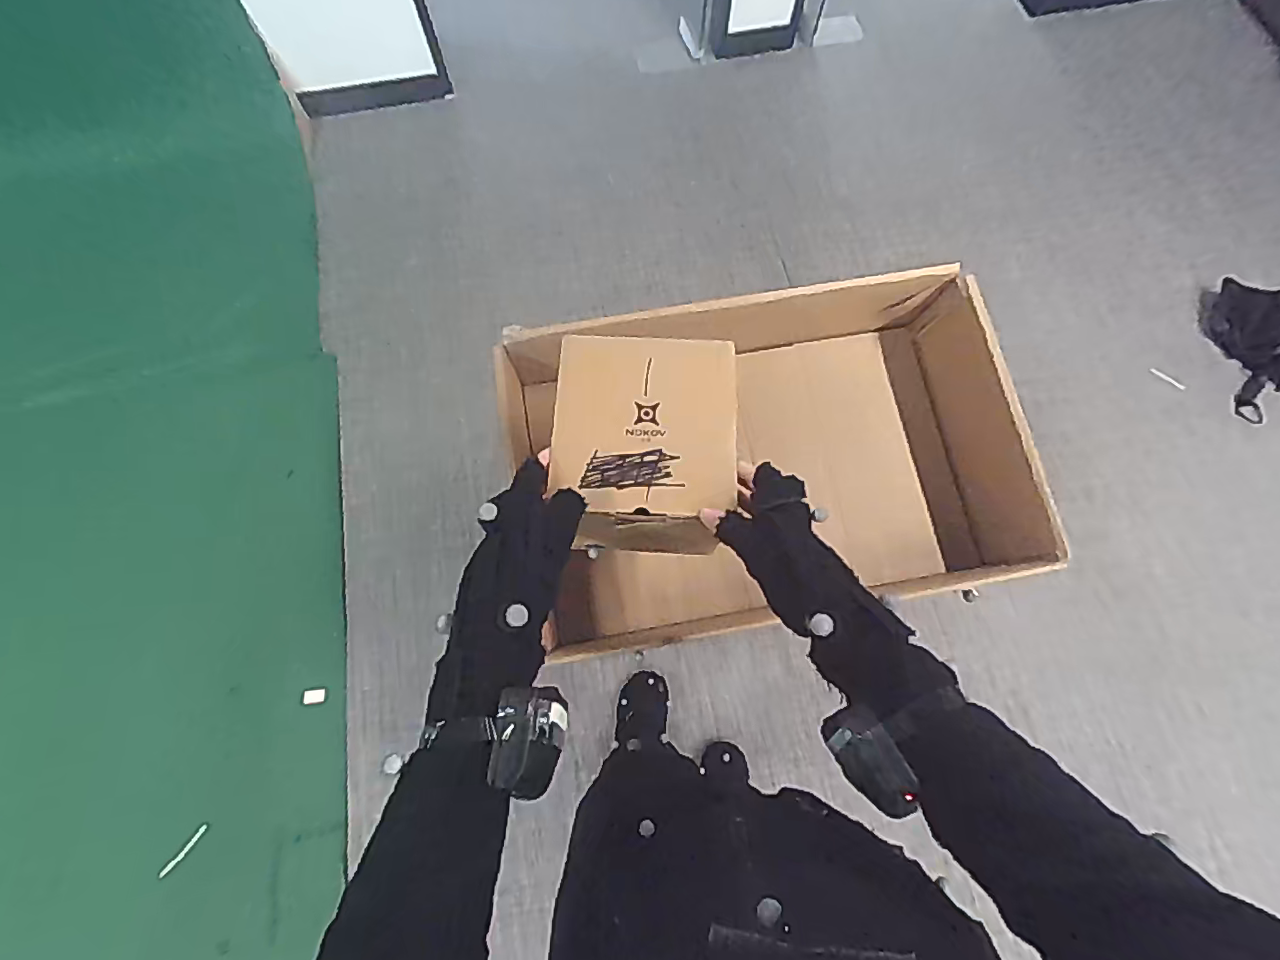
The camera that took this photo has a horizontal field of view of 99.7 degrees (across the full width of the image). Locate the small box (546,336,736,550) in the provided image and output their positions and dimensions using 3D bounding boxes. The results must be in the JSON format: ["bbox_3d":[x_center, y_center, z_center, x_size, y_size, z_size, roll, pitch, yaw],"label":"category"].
[{"bbox_3d":[0.006,-0.028,0.569,0.168,0.176,0.179,3,71,1],"label":"small box"}]
